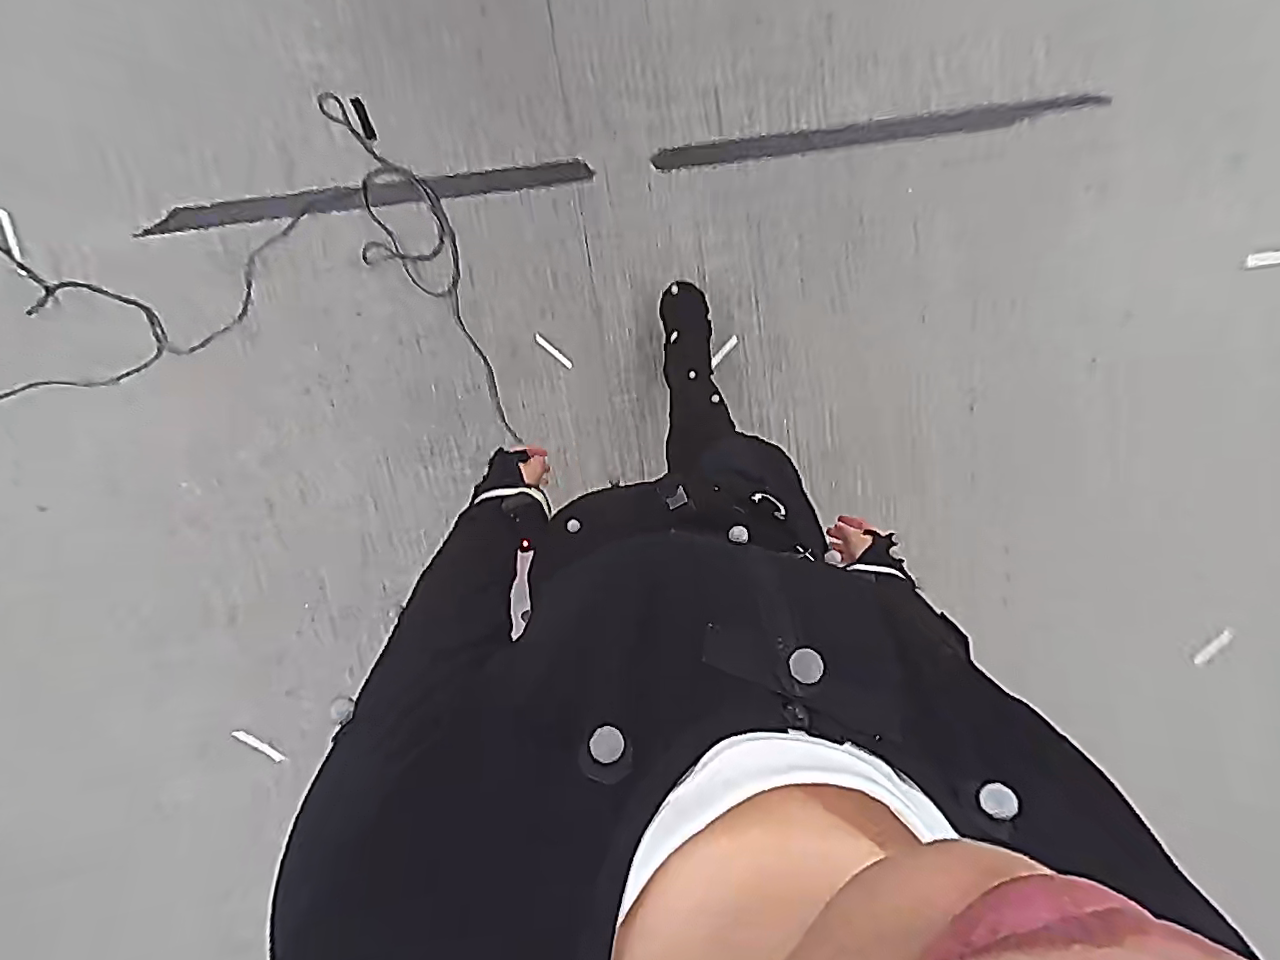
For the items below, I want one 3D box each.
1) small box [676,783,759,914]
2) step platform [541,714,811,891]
[{"bbox_3d":[0.176,0.833,1.231,0.168,0.176,0.179,-7,100,-1],"label":"small box"},{"bbox_3d":[0.089,0.832,1.404,0.684,0.204,0.286,-9,101,-1],"label":"step platform"}]
